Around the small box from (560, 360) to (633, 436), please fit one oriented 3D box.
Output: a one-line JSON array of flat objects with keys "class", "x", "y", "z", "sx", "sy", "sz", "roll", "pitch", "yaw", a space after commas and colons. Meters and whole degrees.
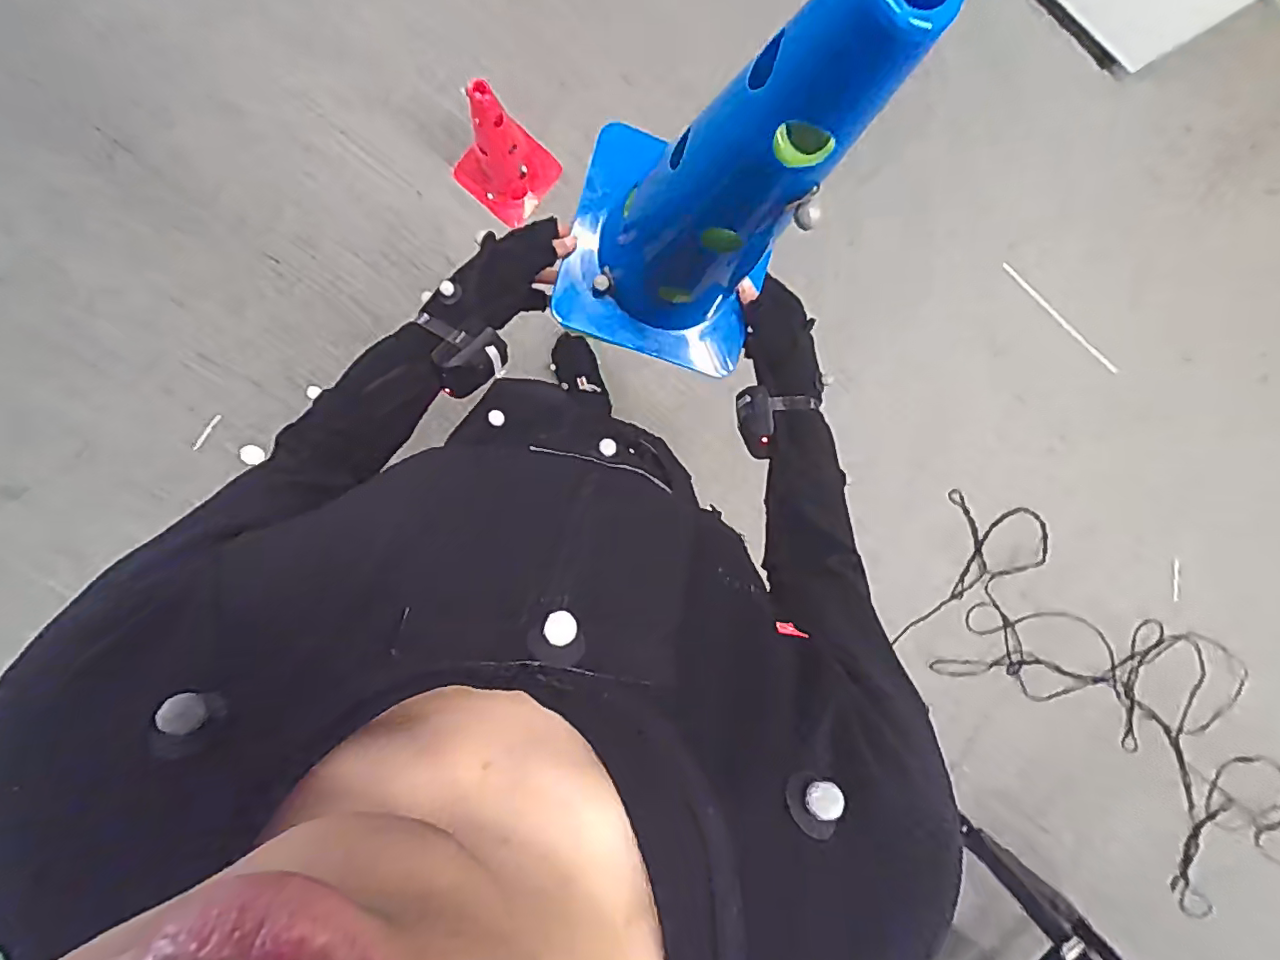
[{"class": "small box", "x": -0.115, "y": -0.211, "z": 1.375, "sx": 0.168, "sy": 0.176, "sz": 0.179, "roll": 0, "pitch": 102, "yaw": -11}]
